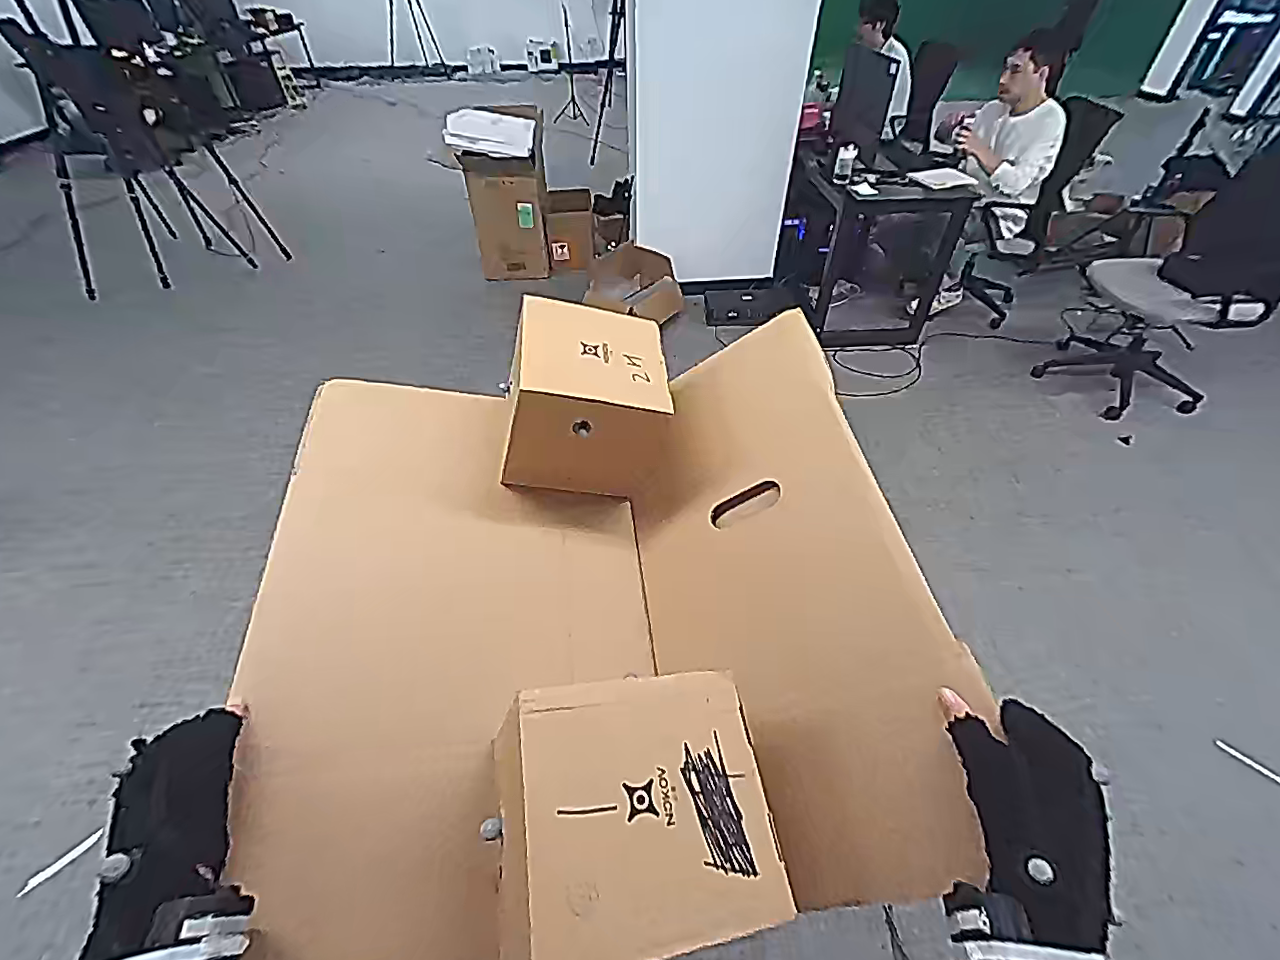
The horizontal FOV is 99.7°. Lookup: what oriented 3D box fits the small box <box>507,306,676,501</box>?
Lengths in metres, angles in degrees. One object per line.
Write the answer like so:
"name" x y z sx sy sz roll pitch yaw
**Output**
"small box" -0.071 -0.090 0.693 0.179 0.176 0.168 8 51 -17
